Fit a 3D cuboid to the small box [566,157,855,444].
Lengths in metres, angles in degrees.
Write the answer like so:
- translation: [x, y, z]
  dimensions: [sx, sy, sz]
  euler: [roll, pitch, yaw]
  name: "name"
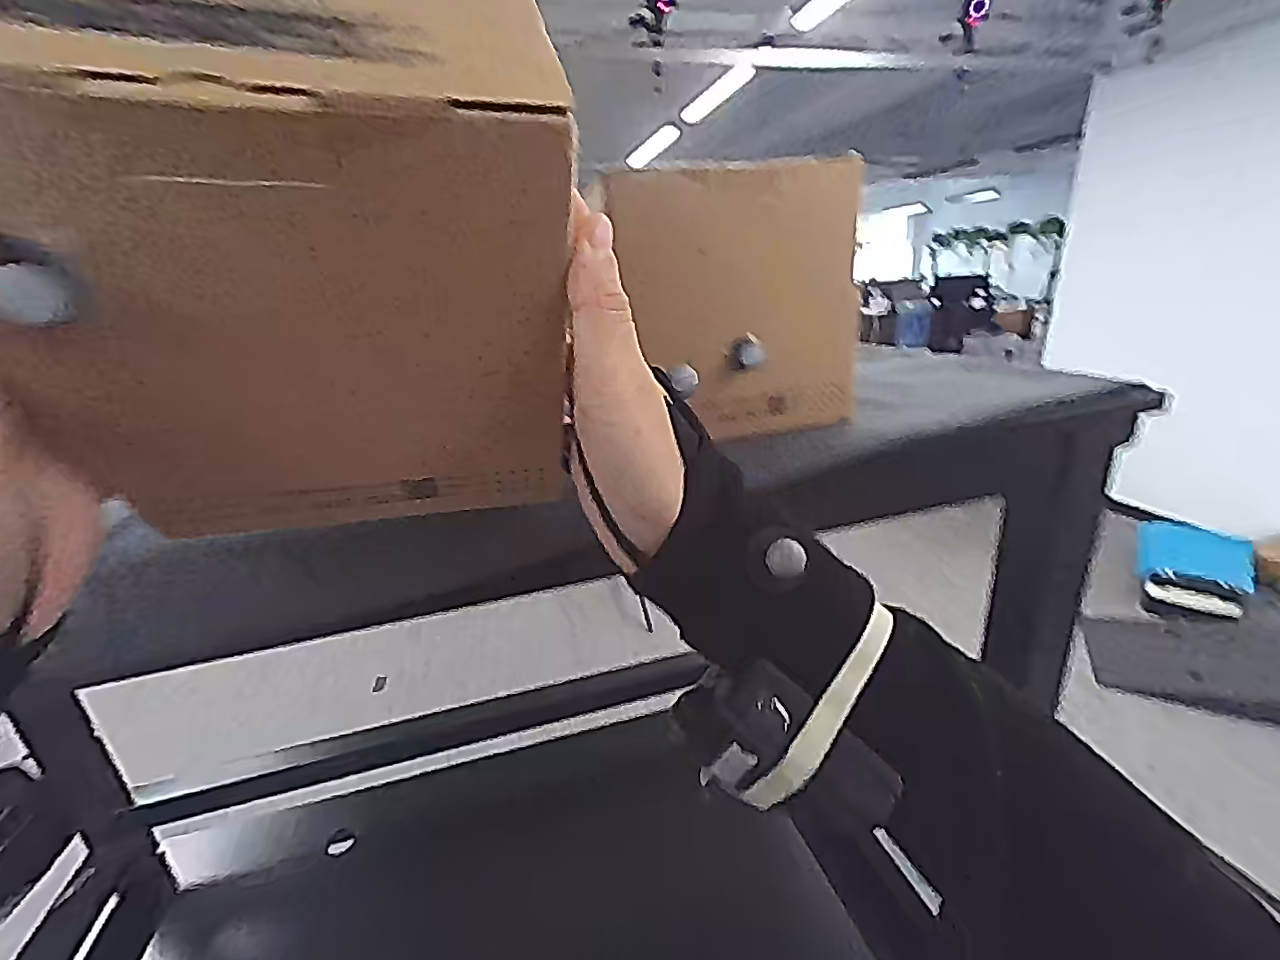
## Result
- translation: [0.042, -0.133, 0.421]
  dimensions: [0.168, 0.176, 0.179]
  euler: [-11, 20, -12]
  name: "small box"
